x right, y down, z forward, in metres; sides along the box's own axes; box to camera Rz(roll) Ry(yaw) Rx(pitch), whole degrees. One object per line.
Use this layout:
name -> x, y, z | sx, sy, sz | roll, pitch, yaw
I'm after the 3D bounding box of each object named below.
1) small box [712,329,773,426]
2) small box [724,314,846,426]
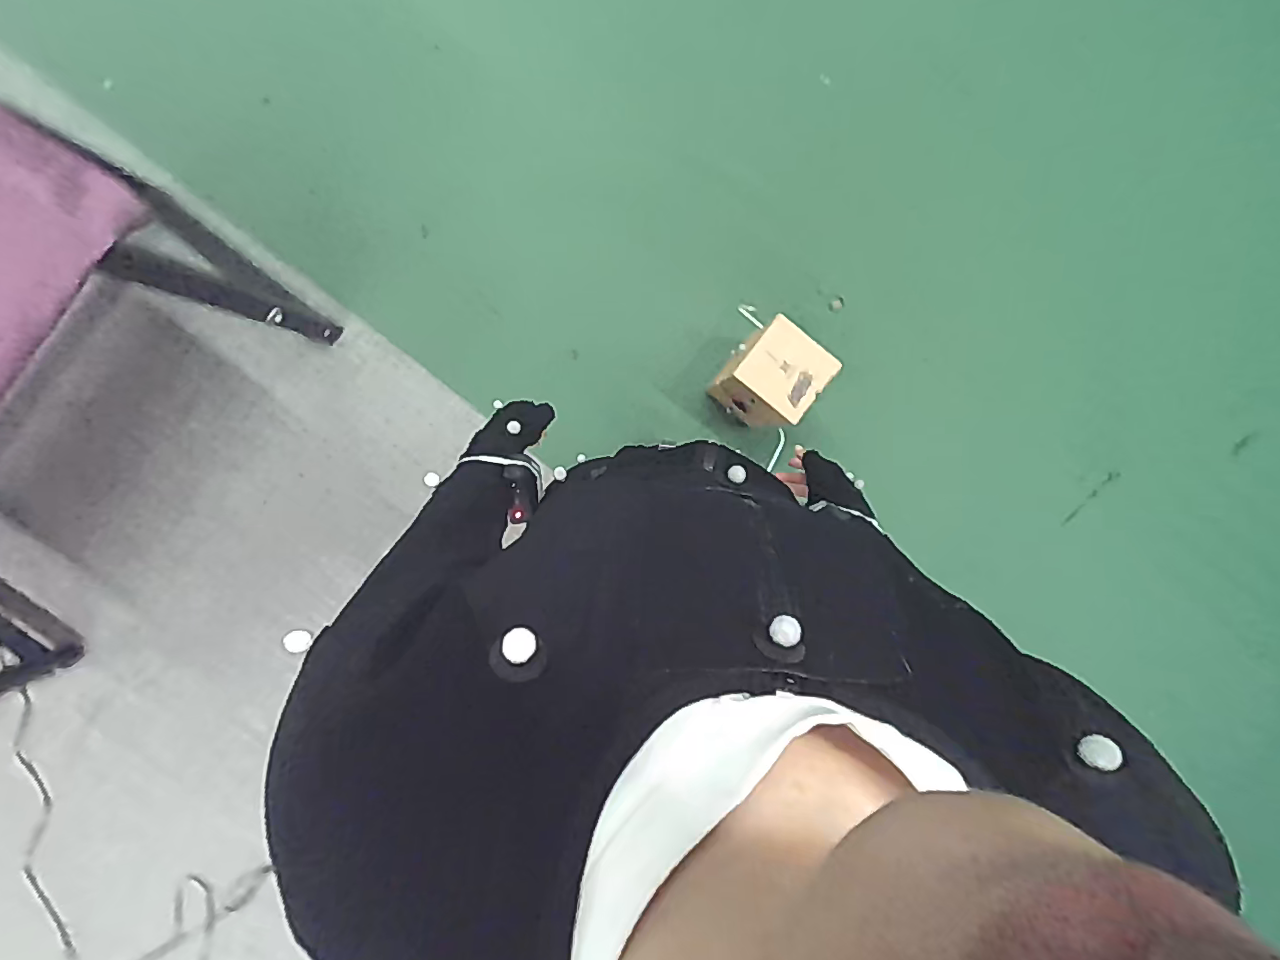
small box -> 0.304, -0.253, 1.381 | 0.168, 0.176, 0.179 | 39, 92, -4
small box -> 0.316, -0.239, 1.215 | 0.179, 0.176, 0.168 | 41, 90, -5
